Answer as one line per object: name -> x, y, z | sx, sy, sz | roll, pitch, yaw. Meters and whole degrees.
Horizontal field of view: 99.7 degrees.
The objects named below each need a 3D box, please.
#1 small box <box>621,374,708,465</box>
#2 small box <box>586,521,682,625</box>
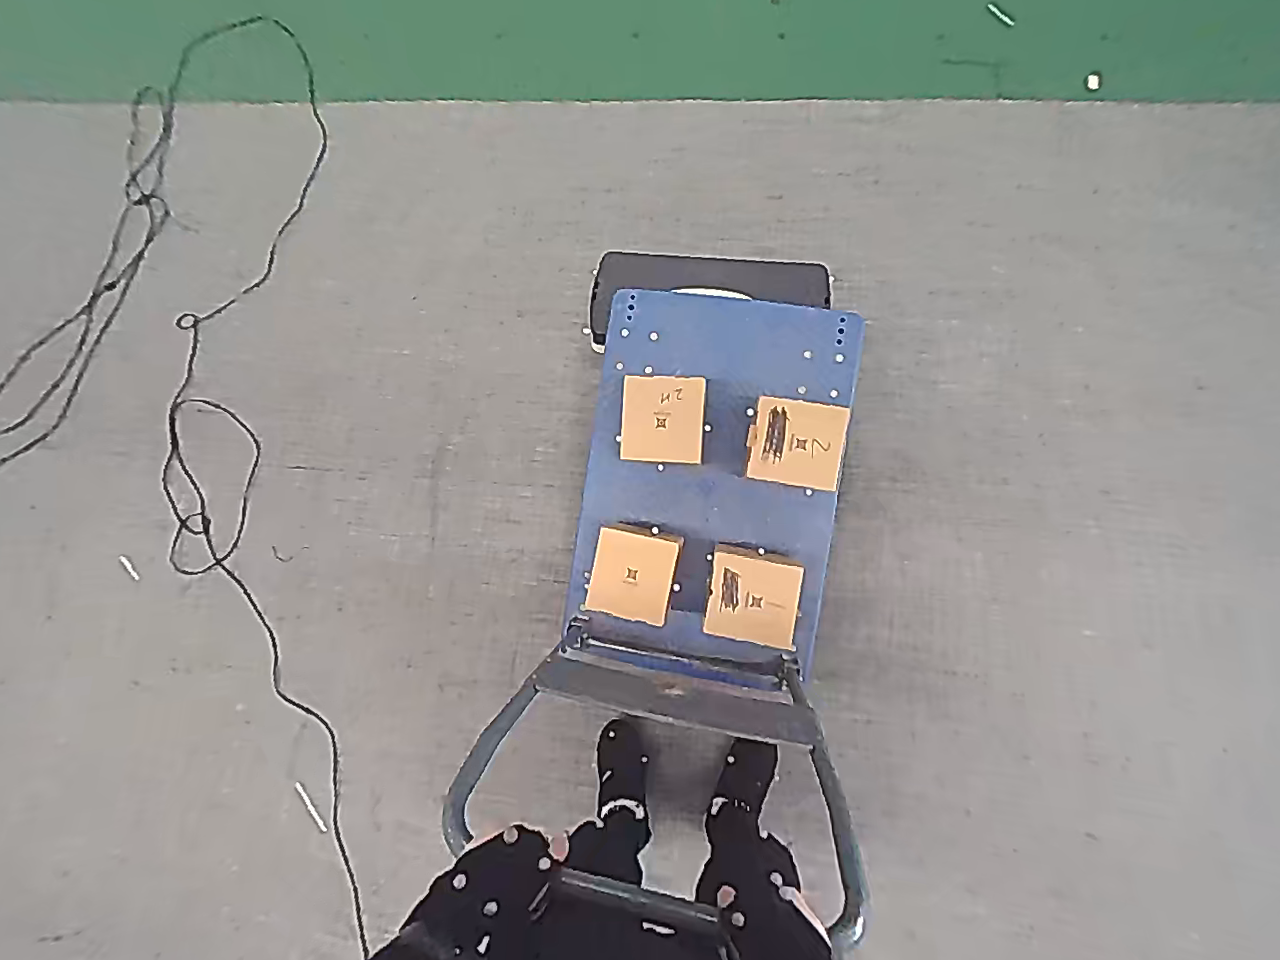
small box -> 0.058, -0.124, 1.170 | 0.168, 0.176, 0.179 | 4, 90, 7
small box -> -0.005, 0.192, 1.174 | 0.168, 0.176, 0.179 | 12, 92, 7
